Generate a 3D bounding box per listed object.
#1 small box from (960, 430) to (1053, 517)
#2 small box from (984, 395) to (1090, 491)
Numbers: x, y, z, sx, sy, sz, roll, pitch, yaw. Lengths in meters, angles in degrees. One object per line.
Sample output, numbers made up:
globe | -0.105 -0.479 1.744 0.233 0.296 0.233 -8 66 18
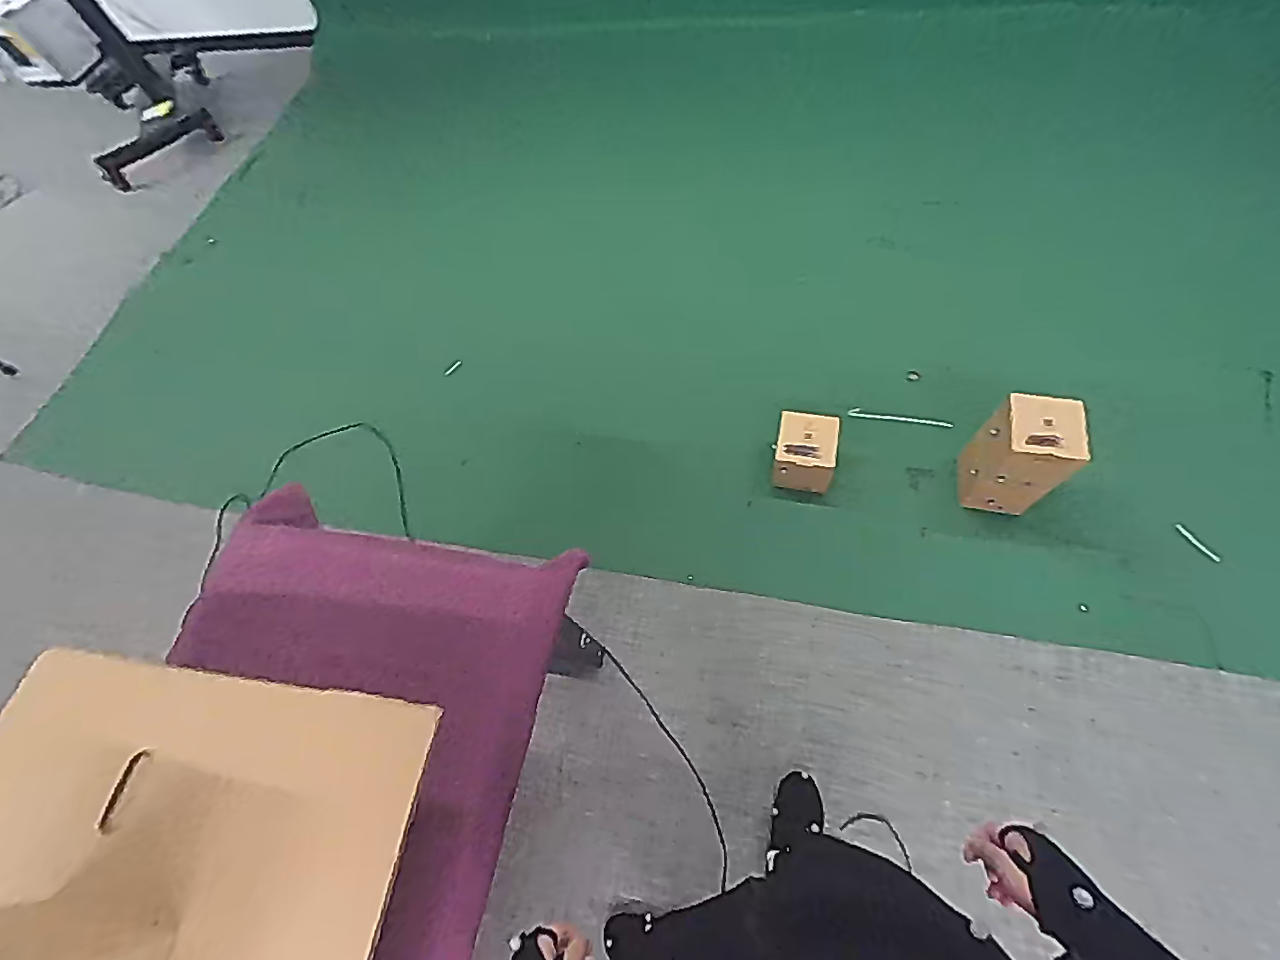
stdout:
small box | 1.032 -0.017 1.537 0.168 0.176 0.179 9 65 12
small box | 1.012 -0.091 1.392 0.168 0.176 0.179 10 65 12
